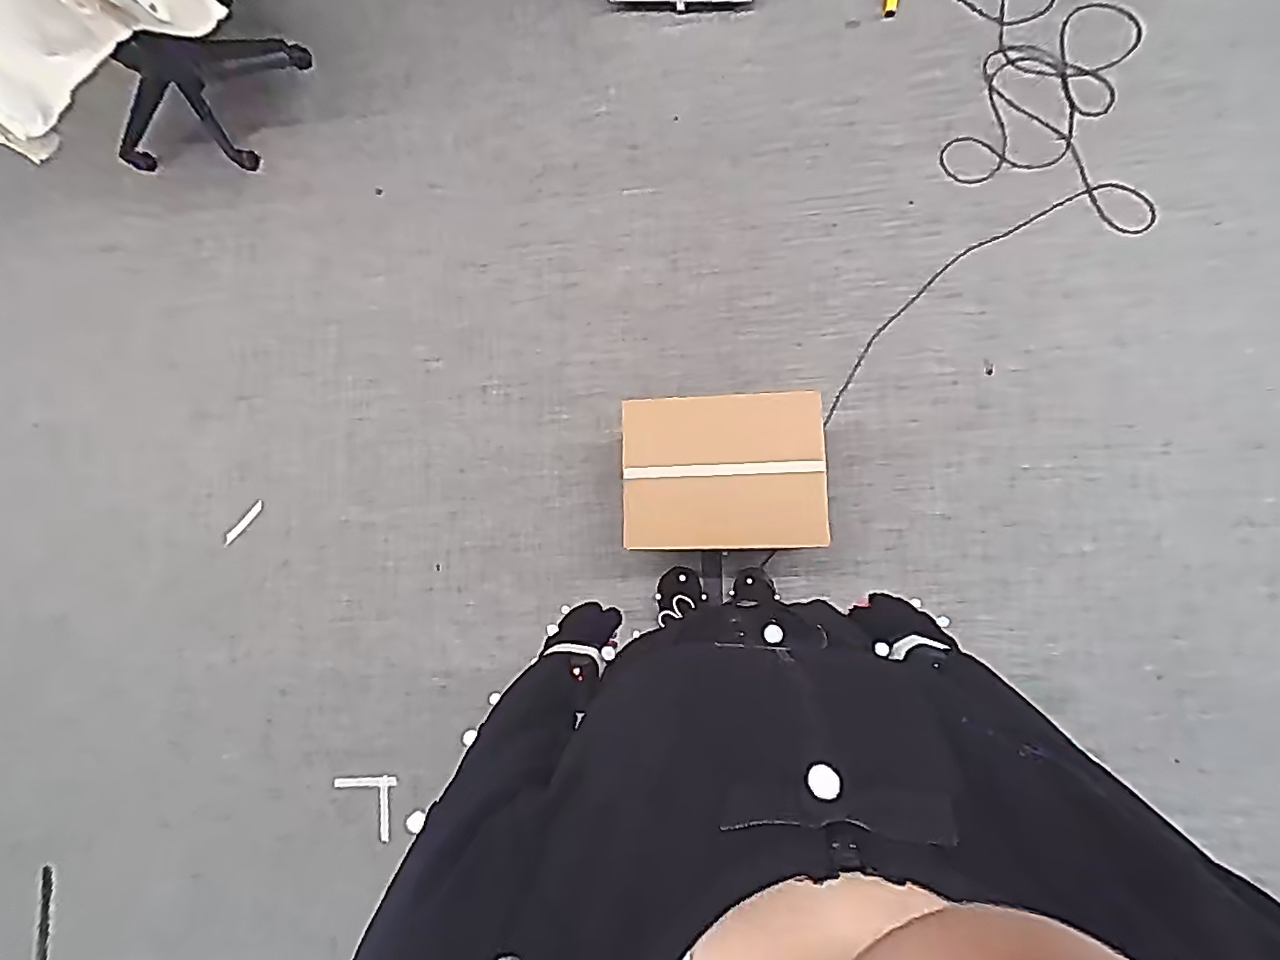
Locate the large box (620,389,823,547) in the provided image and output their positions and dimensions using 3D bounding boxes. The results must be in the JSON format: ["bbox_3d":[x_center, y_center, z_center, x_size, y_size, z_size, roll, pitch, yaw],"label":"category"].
[{"bbox_3d":[0.176,-0.009,1.245,0.408,0.320,0.320,-2,85,7],"label":"large box"}]
